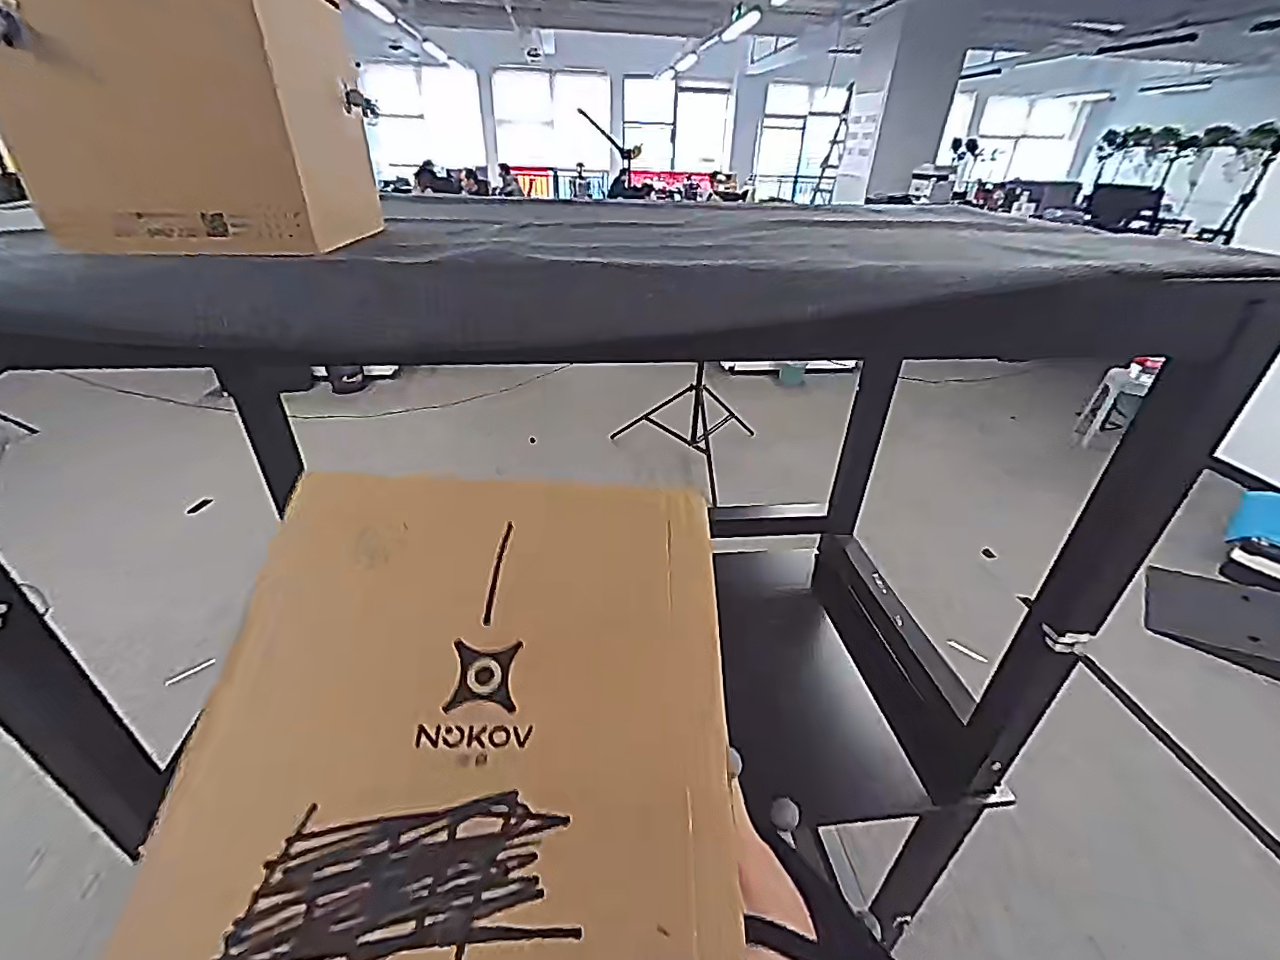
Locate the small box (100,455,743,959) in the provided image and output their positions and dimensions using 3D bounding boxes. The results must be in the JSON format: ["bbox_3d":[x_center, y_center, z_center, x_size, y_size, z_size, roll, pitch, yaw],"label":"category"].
[{"bbox_3d":[-0.058,0.110,0.243,0.168,0.176,0.179,3,56,-4],"label":"small box"}]

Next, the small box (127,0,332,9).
[{"bbox_3d":[-0.309,-0.405,0.317,0.168,0.176,0.179,-2,29,-7],"label":"small box"}]
